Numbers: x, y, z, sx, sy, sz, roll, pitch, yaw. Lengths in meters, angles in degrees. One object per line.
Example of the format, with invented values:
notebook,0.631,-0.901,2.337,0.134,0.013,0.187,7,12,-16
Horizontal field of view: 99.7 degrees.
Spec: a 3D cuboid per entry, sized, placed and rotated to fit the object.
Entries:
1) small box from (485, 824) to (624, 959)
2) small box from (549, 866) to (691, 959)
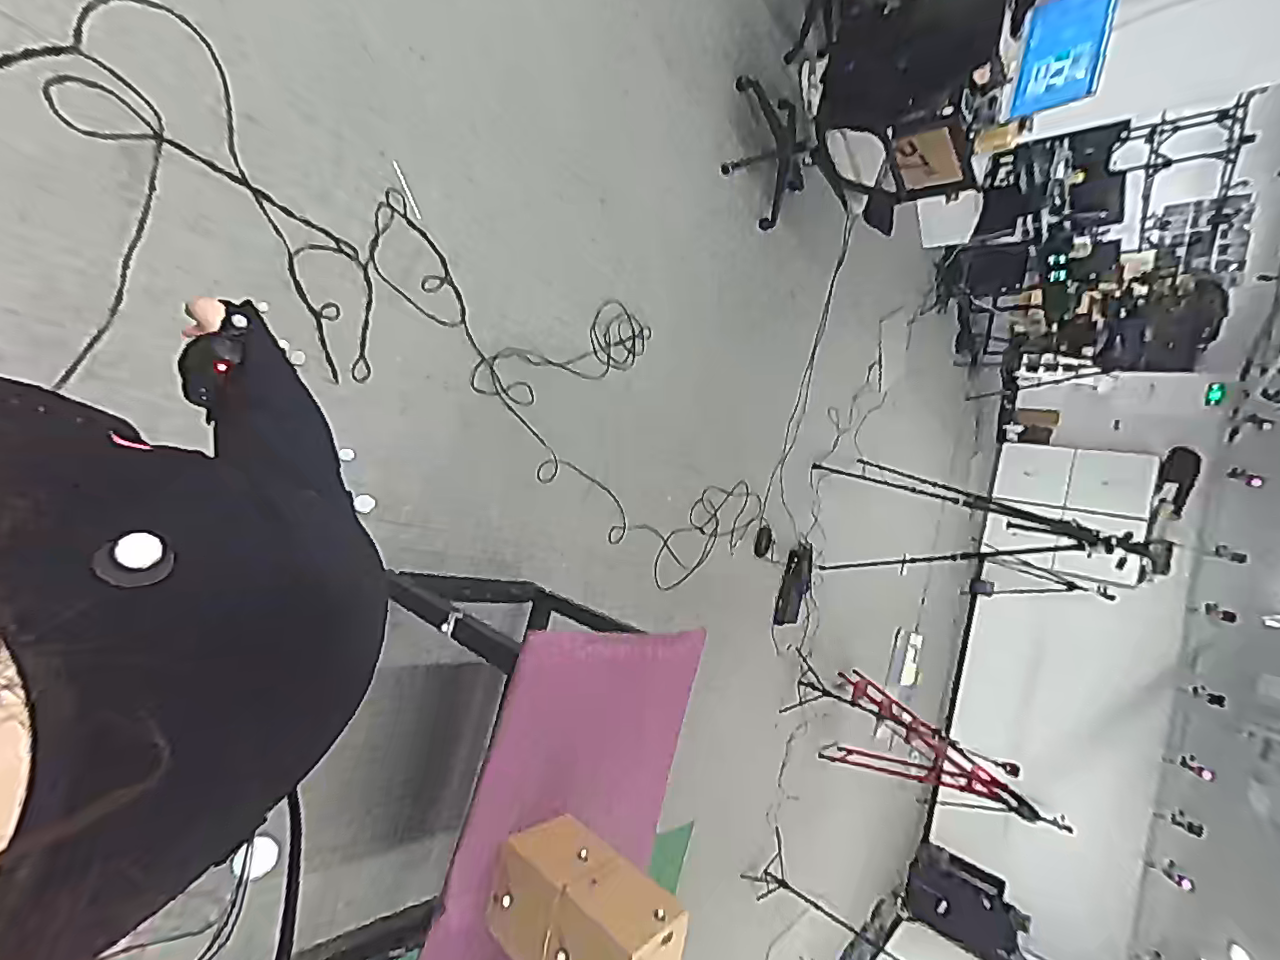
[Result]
small box,-0.164,0.805,1.041,0.179,0.176,0.168,18,84,-50
small box,-0.042,0.826,0.934,0.168,0.176,0.179,17,85,-51
